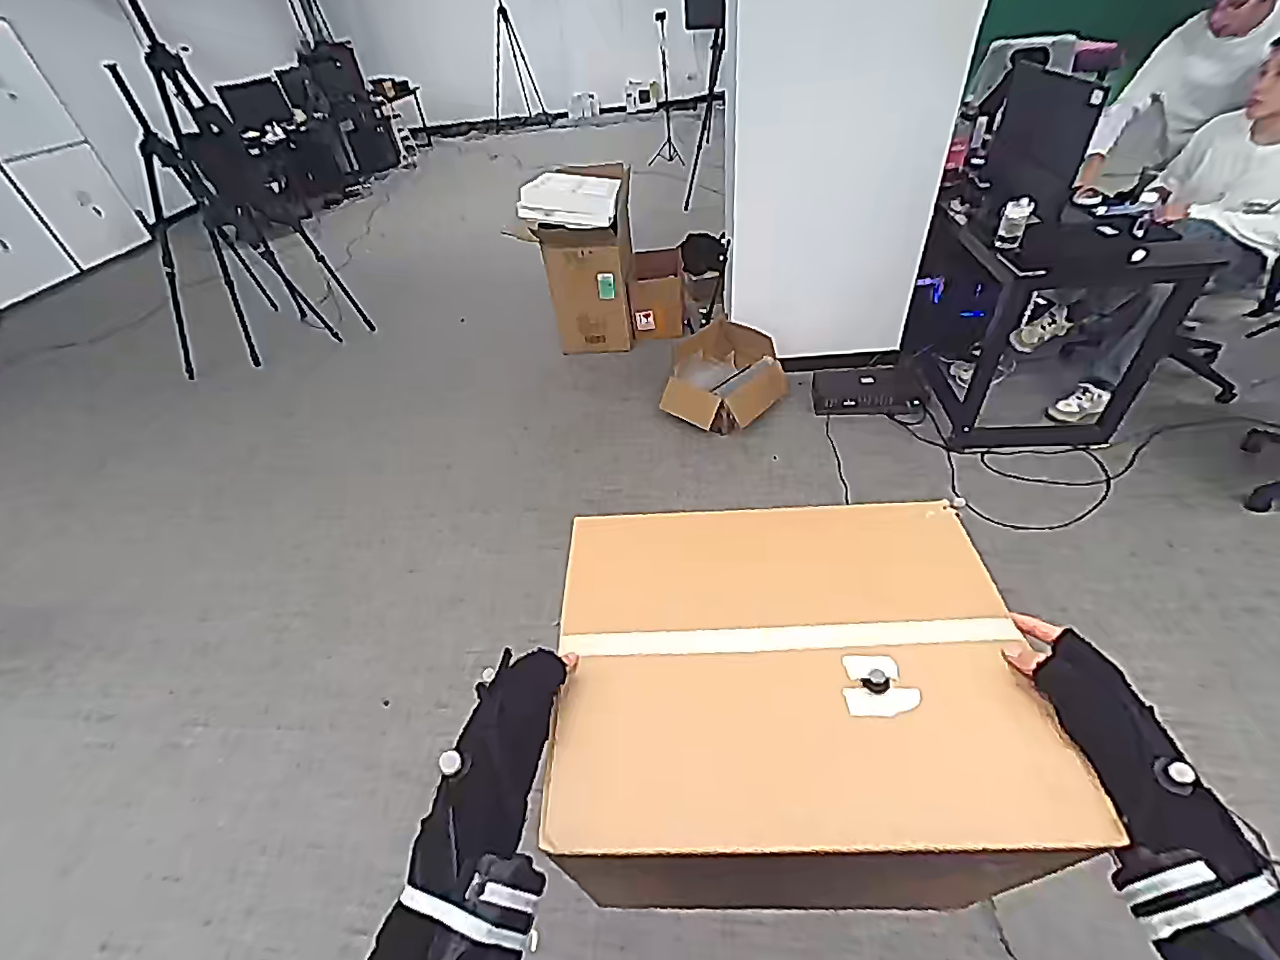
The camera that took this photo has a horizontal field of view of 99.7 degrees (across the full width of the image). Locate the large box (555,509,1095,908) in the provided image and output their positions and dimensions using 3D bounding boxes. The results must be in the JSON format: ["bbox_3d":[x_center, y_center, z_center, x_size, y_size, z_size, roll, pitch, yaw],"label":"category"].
[{"bbox_3d":[0.139,0.256,0.604,0.408,0.320,0.320,-3,45,3],"label":"large box"}]
